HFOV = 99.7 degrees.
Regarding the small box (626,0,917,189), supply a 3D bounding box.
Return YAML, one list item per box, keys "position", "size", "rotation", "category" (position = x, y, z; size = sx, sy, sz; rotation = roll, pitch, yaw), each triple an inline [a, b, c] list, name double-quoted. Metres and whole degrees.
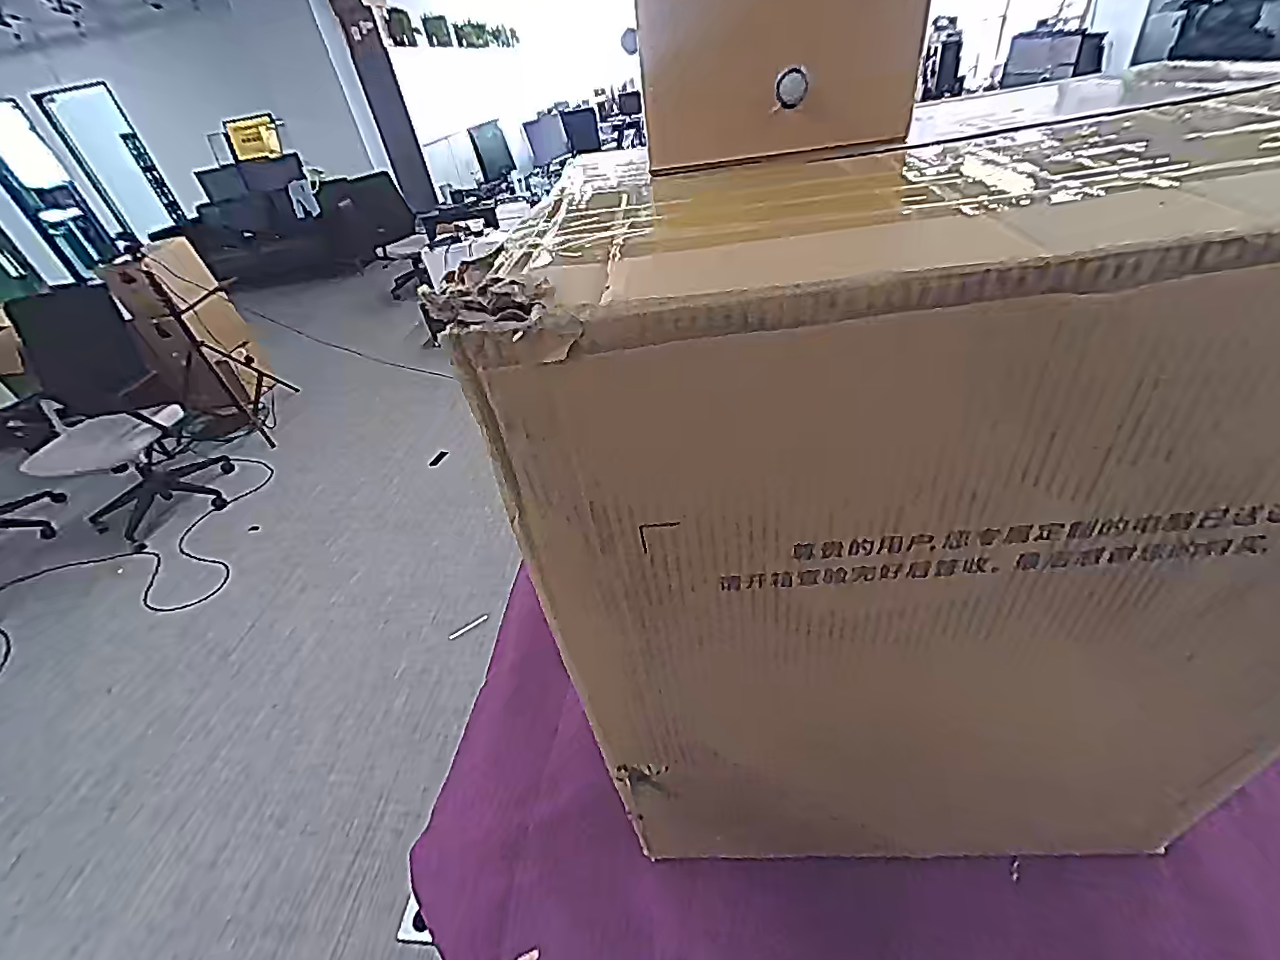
- position: [0.082, -0.325, 0.387]
  size: [0.179, 0.176, 0.168]
  rotation: [-4, 38, 8]
  category: "small box"
